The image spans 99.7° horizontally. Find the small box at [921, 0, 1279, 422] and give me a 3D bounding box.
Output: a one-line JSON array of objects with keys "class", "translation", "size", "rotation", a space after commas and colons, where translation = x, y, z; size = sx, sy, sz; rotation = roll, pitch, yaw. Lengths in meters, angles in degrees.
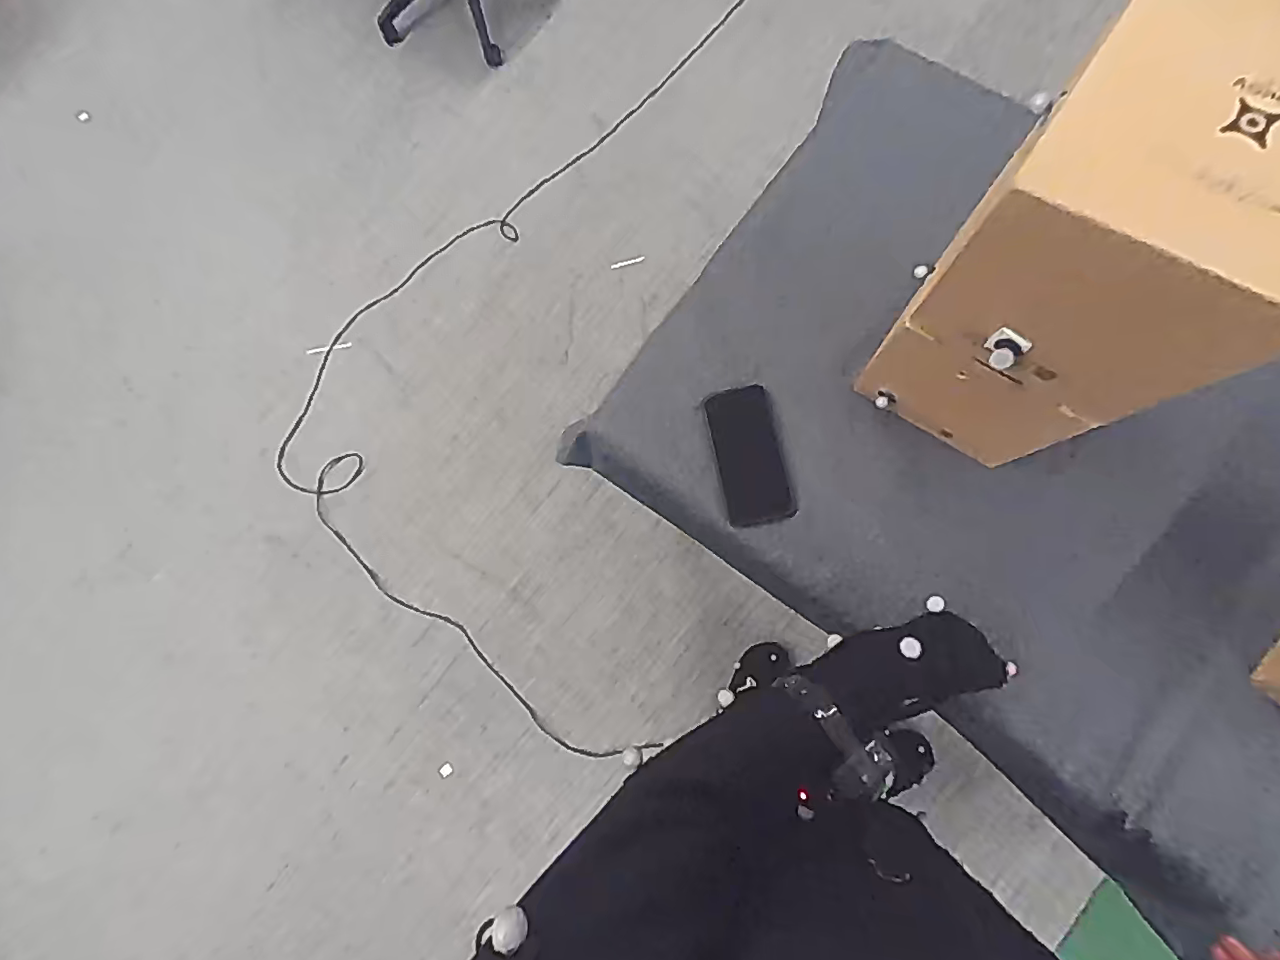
[{"class": "small box", "translation": [0.324, -0.166, 0.359], "size": [0.168, 0.176, 0.179], "rotation": [33, 87, 13]}]

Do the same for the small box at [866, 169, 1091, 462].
[{"class": "small box", "translation": [0.342, -0.139, 0.517], "size": [0.168, 0.176, 0.179], "rotation": [34, 85, 12]}]
